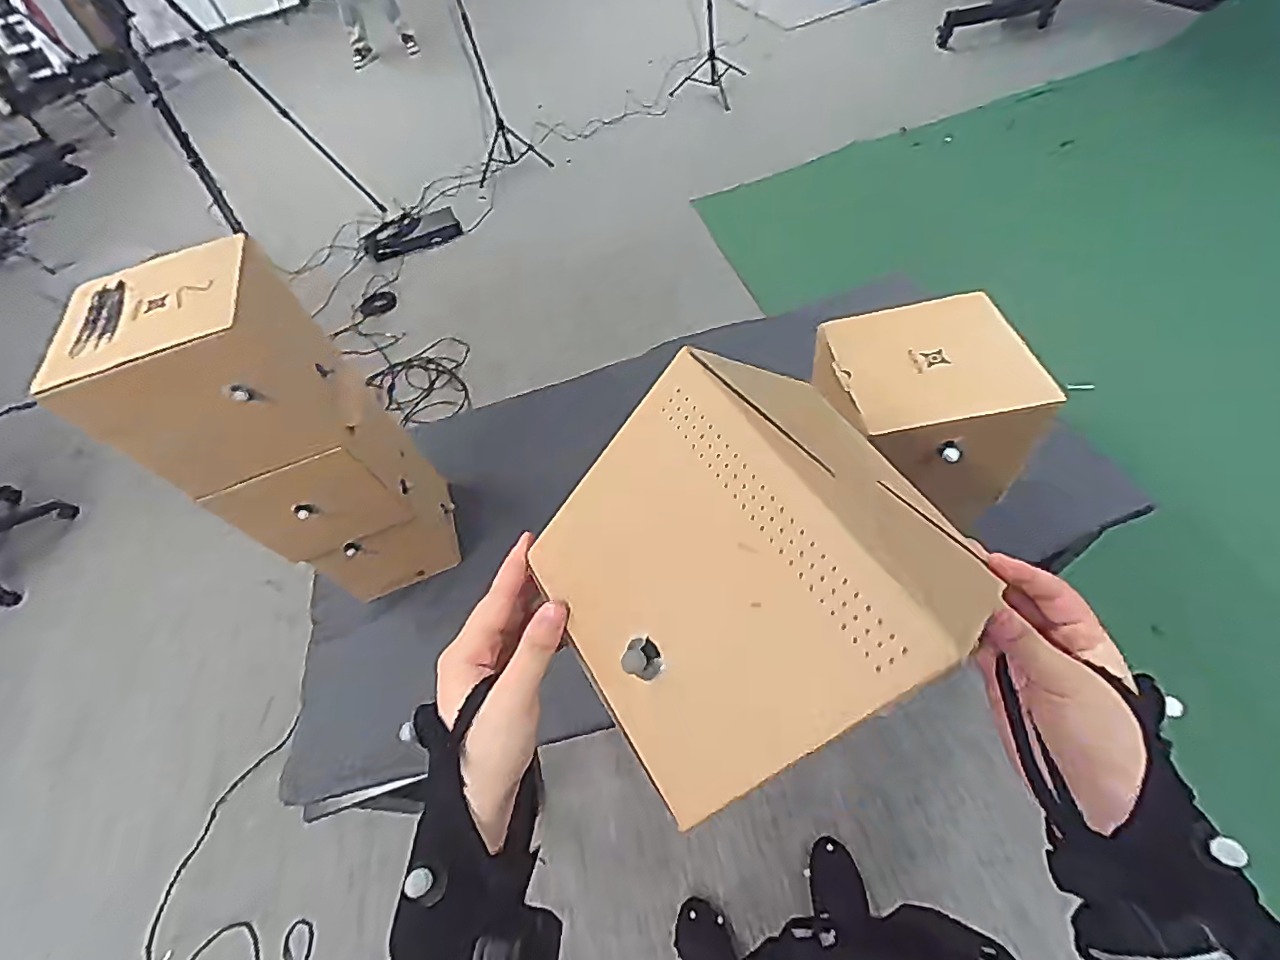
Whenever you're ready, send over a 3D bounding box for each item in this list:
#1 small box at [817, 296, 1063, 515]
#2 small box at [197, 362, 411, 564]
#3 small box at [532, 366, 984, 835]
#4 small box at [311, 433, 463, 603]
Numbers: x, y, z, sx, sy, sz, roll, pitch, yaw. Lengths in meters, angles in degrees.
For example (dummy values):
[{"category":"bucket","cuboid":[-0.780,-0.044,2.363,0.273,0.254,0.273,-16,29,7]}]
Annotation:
[{"category":"small box","cuboid":[0.299,-0.068,0.595,0.179,0.176,0.168,-11,53,6]},{"category":"small box","cuboid":[-0.421,-0.017,0.709,0.179,0.176,0.168,-22,55,-3]},{"category":"small box","cuboid":[0.073,0.056,0.323,0.176,0.168,0.179,-49,64,29]},{"category":"small box","cuboid":[-0.400,0.063,0.853,0.168,0.176,0.179,-22,55,-4]}]
